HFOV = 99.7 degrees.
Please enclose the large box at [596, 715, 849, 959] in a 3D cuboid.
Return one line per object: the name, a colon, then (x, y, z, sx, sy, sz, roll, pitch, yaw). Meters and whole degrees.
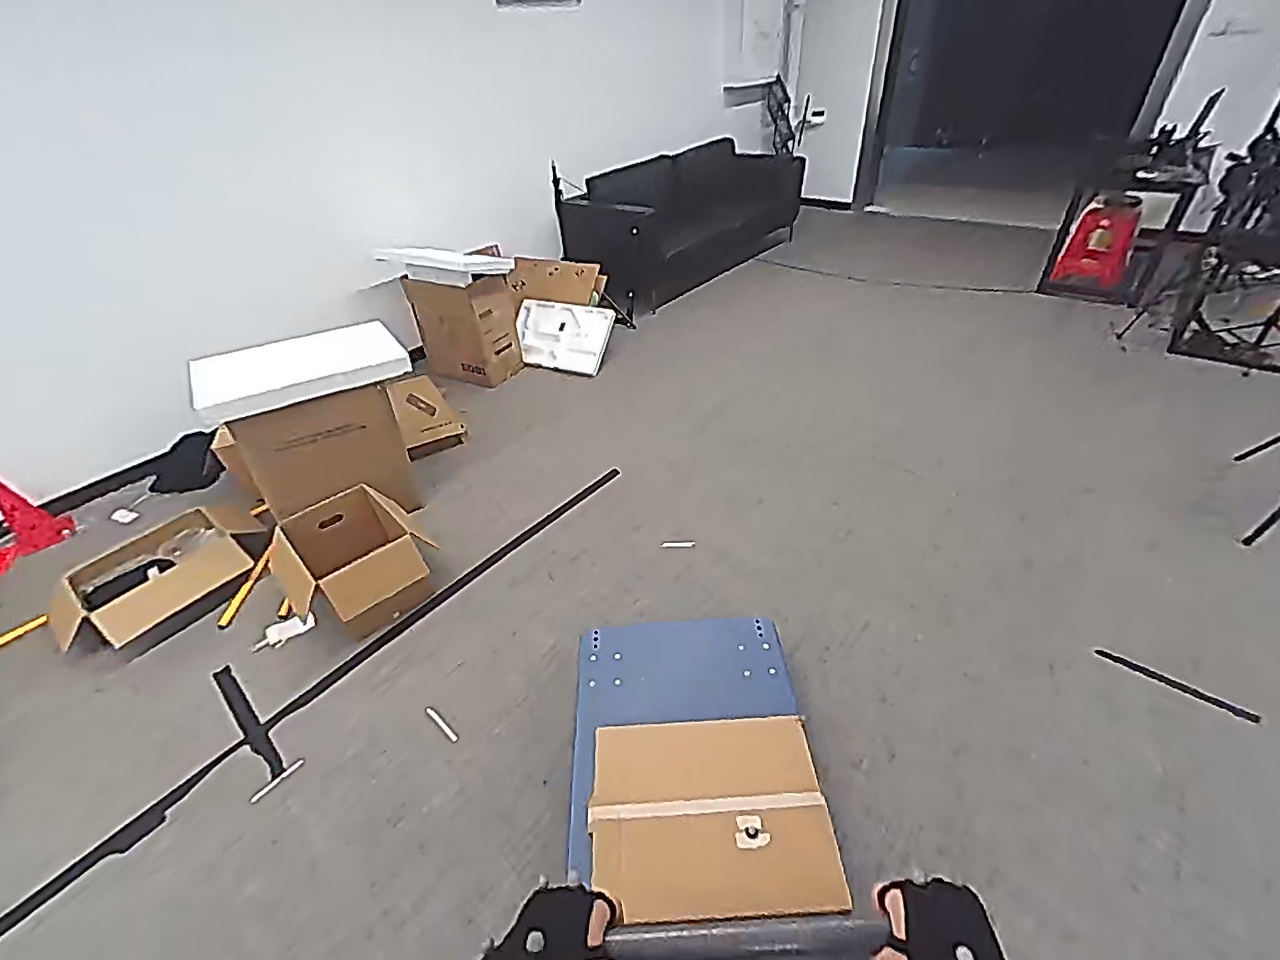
large box: (0.125, 0.691, 1.039, 0.408, 0.320, 0.320, -3, 38, -1)
